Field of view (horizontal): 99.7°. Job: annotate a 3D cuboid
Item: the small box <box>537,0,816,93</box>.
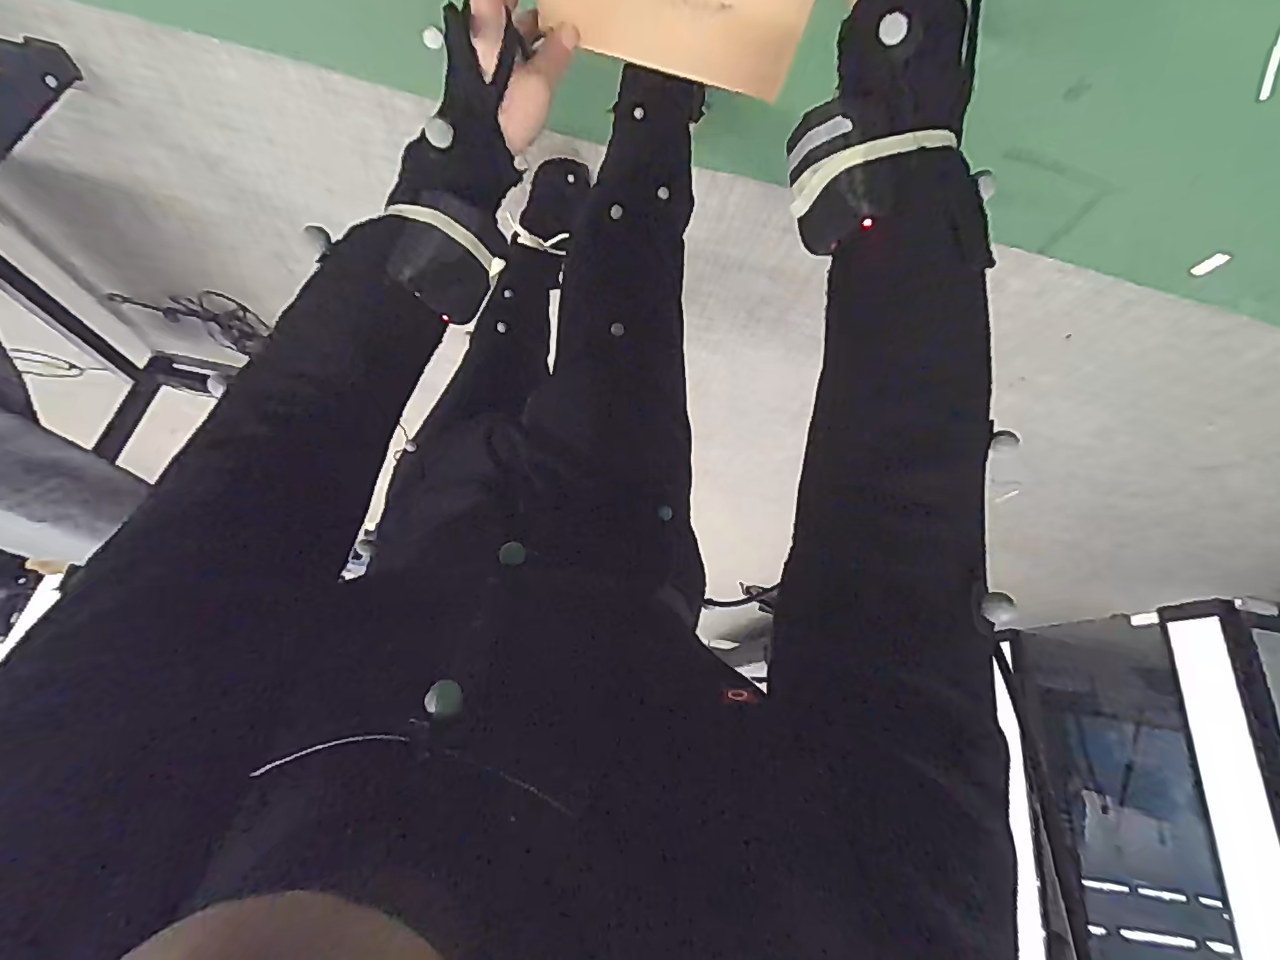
[{"bbox_3d":[0.041,-0.377,0.303,0.168,0.176,0.179,13,158,-4],"label":"small box"}]
